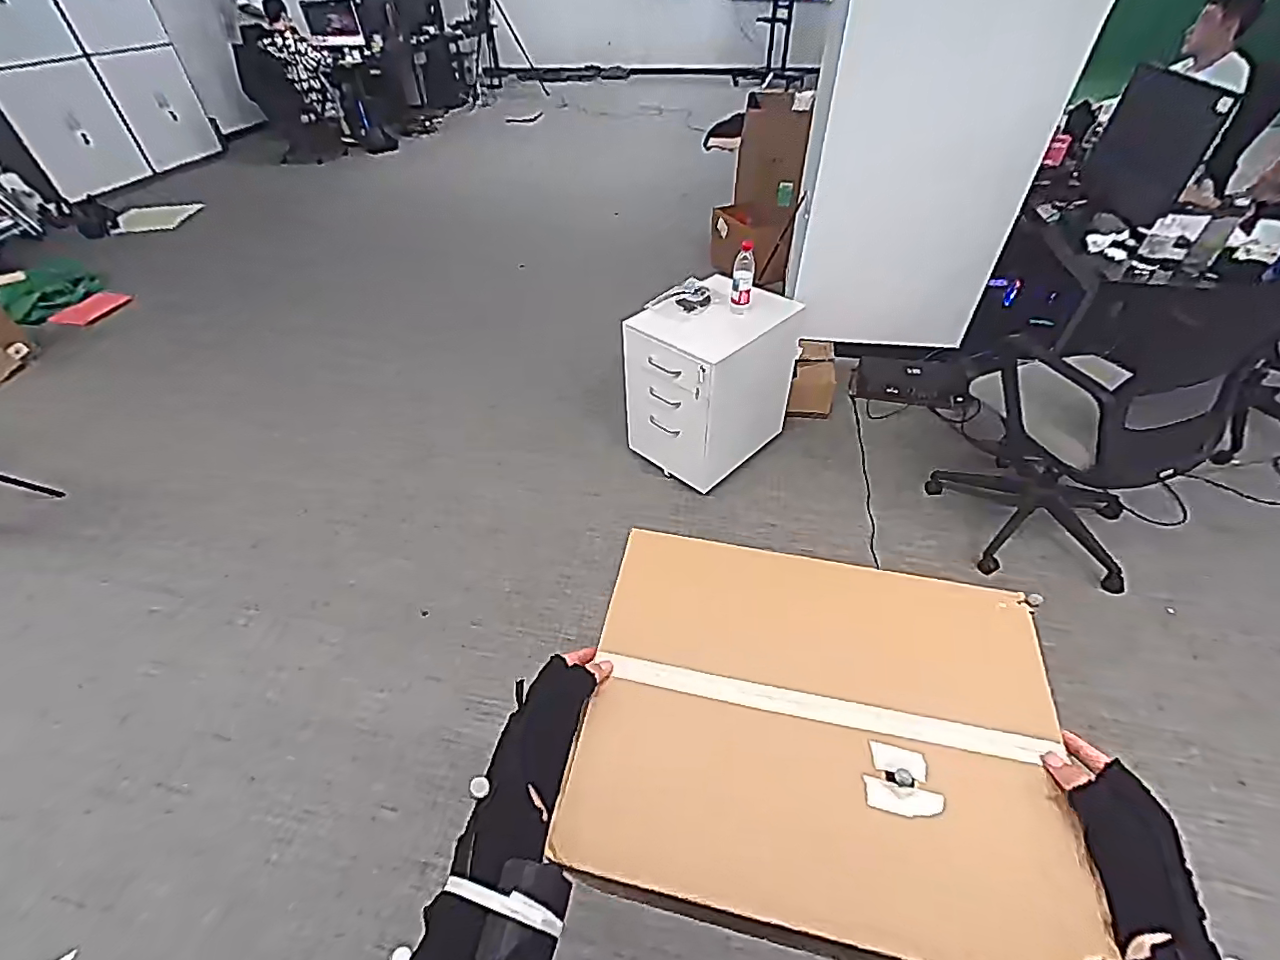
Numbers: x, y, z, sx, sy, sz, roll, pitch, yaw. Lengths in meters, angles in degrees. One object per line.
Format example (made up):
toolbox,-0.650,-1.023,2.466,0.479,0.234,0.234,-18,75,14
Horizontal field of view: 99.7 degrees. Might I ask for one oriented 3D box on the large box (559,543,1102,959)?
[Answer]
large box,0.158,0.308,0.602,0.408,0.320,0.320,9,51,9
